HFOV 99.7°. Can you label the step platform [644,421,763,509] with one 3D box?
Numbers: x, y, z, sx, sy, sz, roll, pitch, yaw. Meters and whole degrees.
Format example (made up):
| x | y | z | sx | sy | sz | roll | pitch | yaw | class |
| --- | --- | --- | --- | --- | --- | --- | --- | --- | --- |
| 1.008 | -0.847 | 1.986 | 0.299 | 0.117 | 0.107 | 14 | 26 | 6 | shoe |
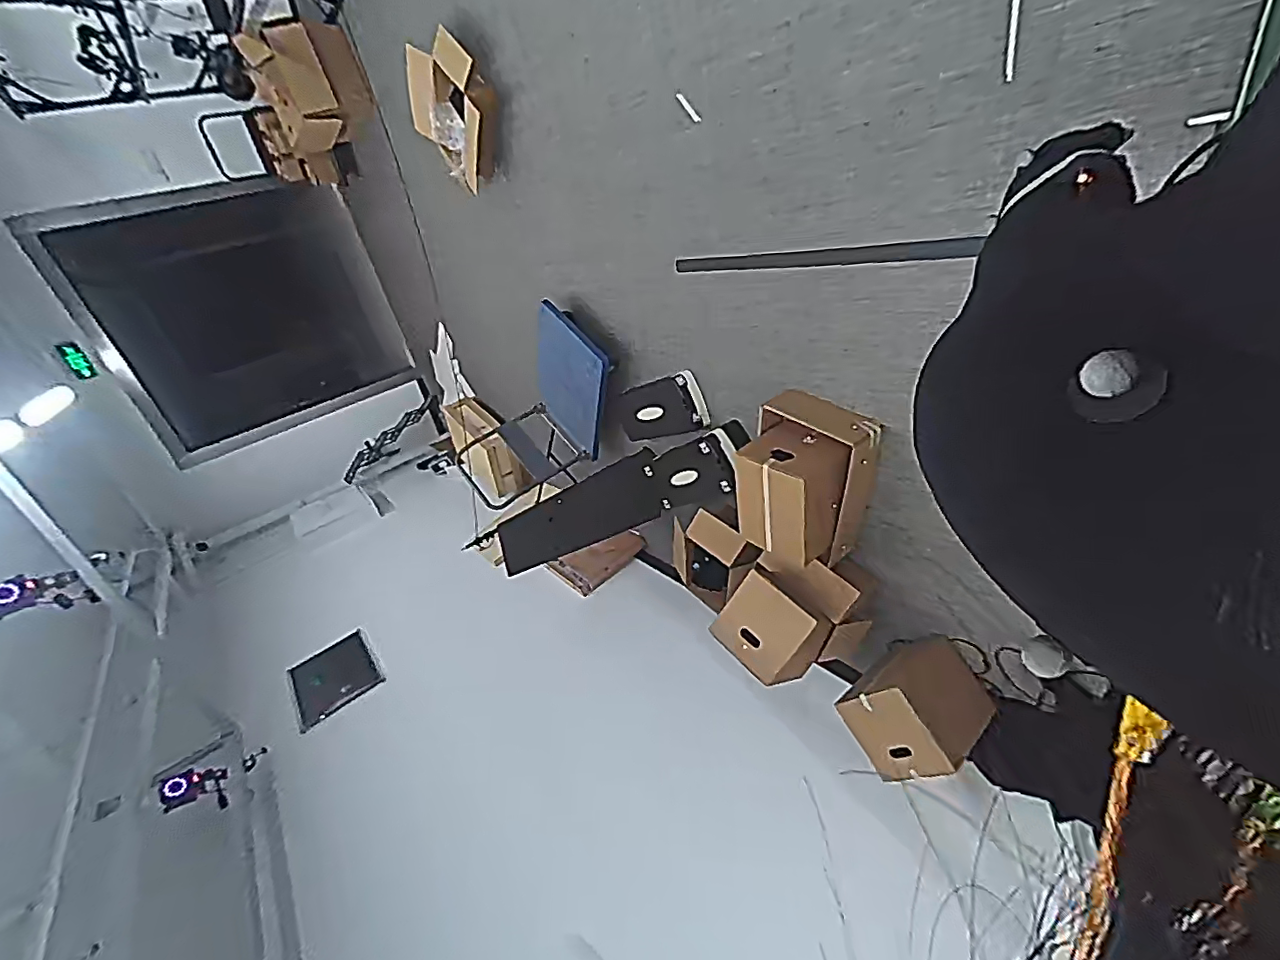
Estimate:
| x | y | z | sx | sy | sz | roll | pitch | yaw | class |
| --- | --- | --- | --- | --- | --- | --- | --- | --- | --- |
| 0.283 | -0.052 | 2.655 | 0.286 | 0.204 | 0.684 | 61 | 151 | -3 | step platform |
